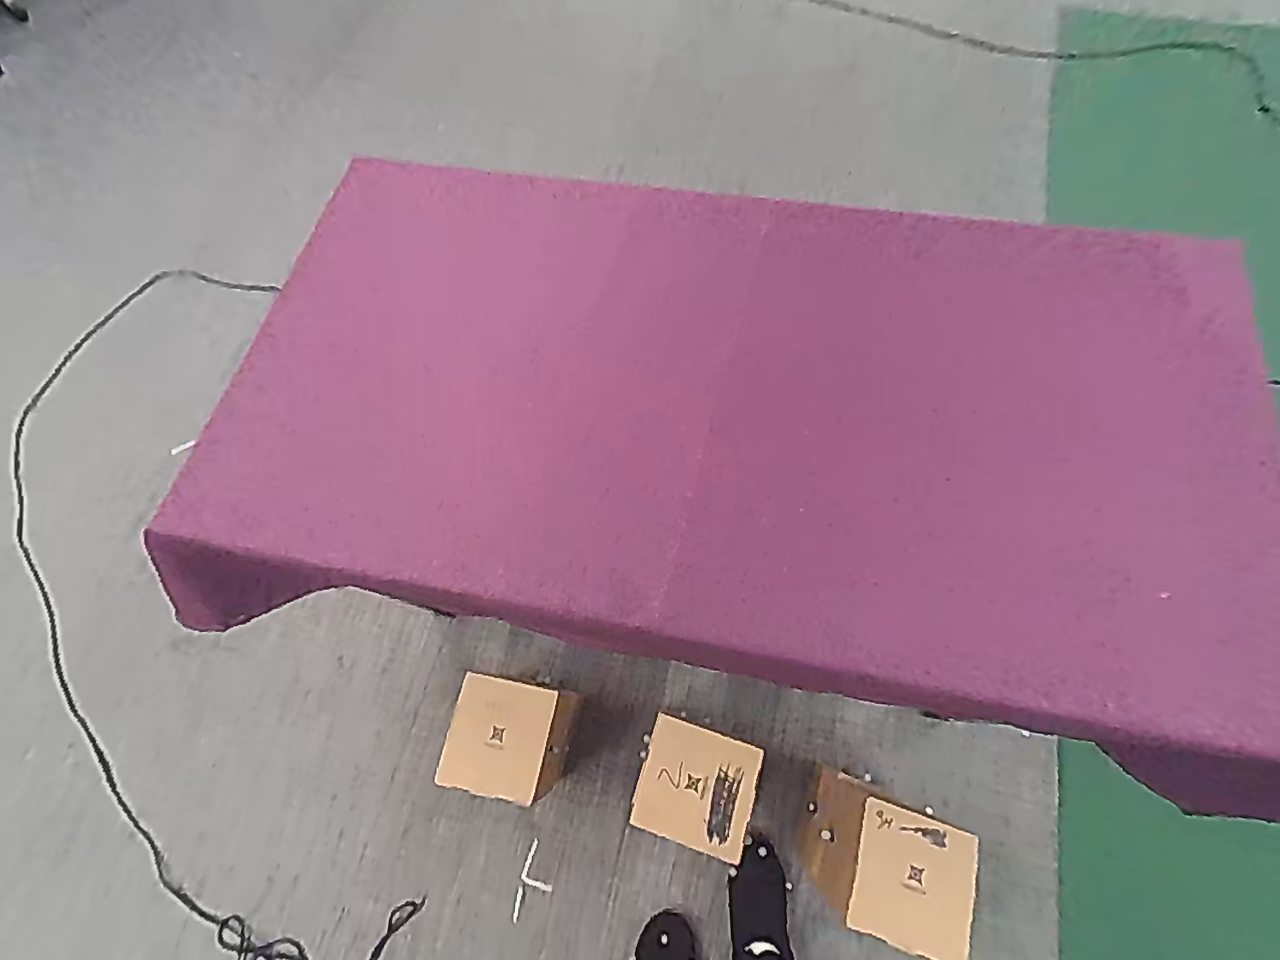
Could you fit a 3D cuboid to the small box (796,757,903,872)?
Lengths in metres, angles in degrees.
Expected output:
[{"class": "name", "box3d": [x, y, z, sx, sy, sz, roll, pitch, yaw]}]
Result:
[{"class": "small box", "box3d": [0.405, 0.650, 1.017, 0.168, 0.176, 0.179, 21, 71, 11]}]

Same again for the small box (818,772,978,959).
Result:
[{"class": "small box", "box3d": [0.397, 0.596, 0.860, 0.168, 0.176, 0.179, 18, 72, 8]}]
